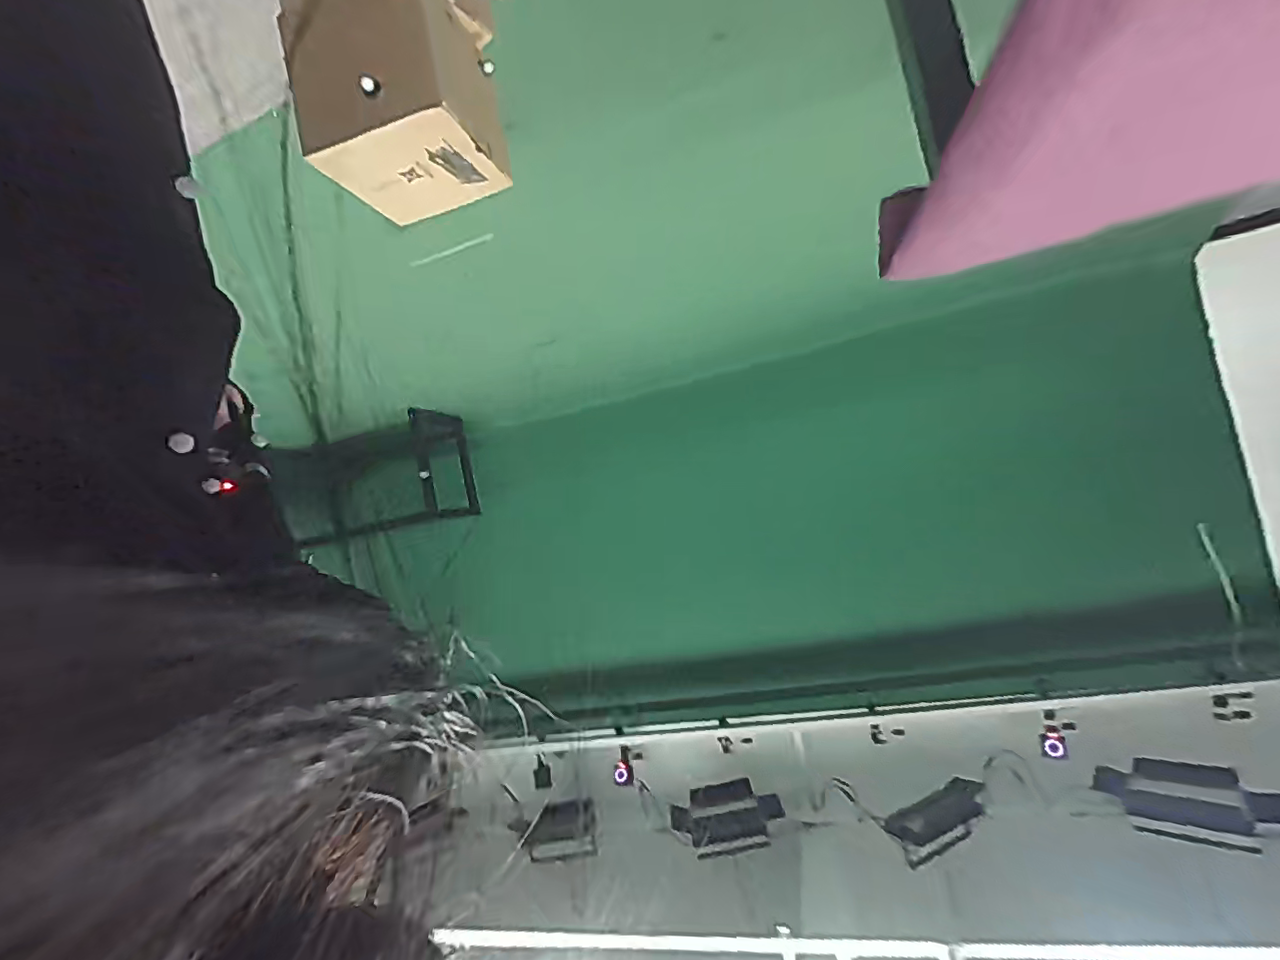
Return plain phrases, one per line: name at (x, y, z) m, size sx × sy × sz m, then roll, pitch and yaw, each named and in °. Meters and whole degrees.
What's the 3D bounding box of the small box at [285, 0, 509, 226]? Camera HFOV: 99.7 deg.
small box at (-0.286, -0.445, 0.650) m, size 0.179 × 0.176 × 0.168 m, roll -12°, pitch 178°, yaw 12°
